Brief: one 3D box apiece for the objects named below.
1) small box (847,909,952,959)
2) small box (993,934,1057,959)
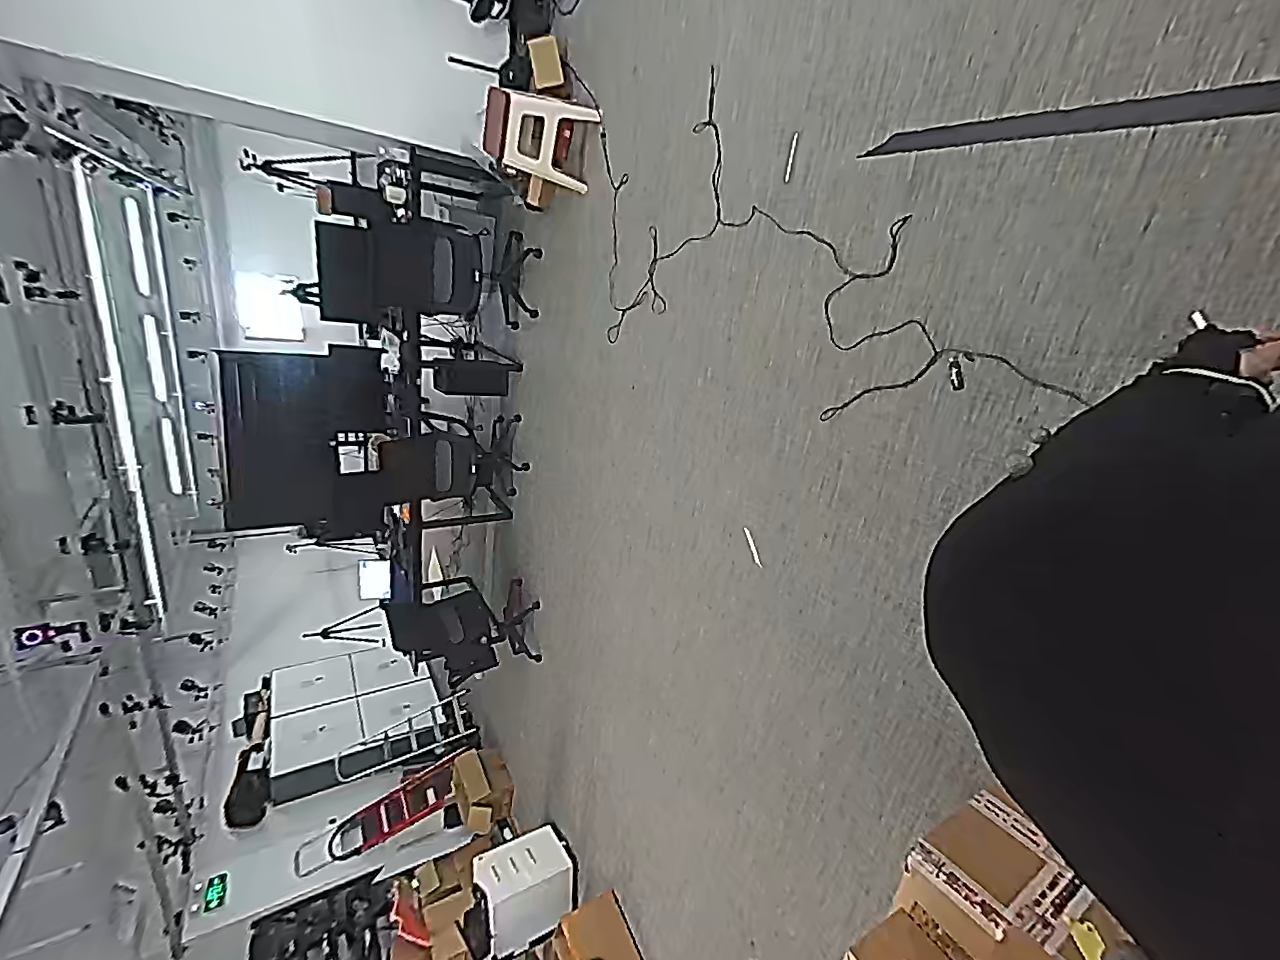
[{"bbox_3d":[0.477,0.947,0.975,0.168,0.176,0.179,33,119,54],"label":"small box"},{"bbox_3d":[0.595,0.837,0.793,0.179,0.176,0.168,22,110,54],"label":"small box"}]
